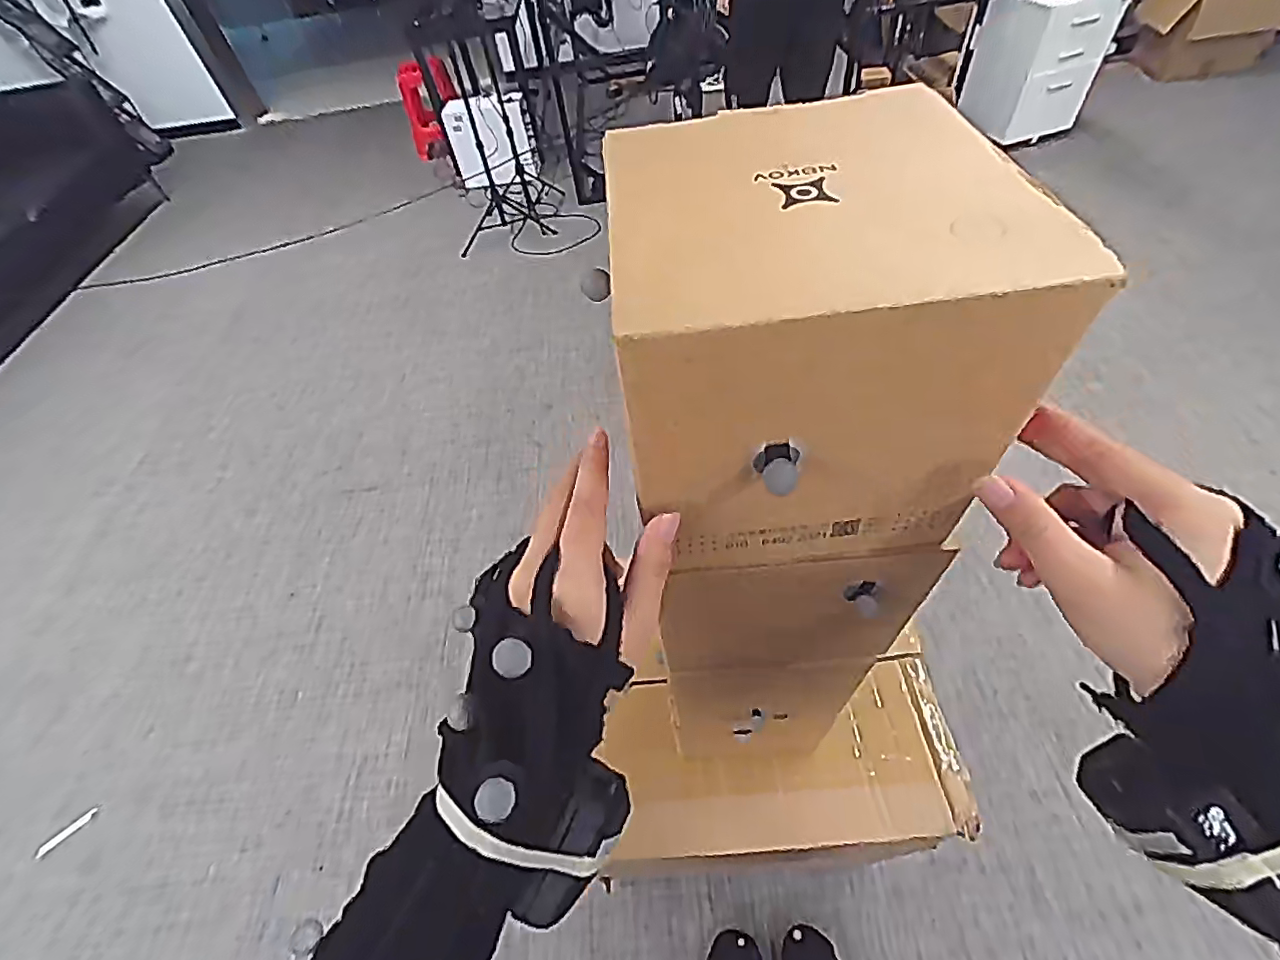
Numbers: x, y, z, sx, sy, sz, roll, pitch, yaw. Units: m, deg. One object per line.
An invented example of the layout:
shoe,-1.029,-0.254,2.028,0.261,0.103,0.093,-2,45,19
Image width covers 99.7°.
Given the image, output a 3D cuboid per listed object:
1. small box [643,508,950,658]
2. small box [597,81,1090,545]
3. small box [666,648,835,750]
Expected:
small box,0.094,0.026,0.417,0.179,0.176,0.168,-6,52,4
small box,0.072,-0.077,0.293,0.168,0.176,0.179,-7,52,3
small box,0.125,0.229,0.674,0.179,0.176,0.168,-5,52,4
